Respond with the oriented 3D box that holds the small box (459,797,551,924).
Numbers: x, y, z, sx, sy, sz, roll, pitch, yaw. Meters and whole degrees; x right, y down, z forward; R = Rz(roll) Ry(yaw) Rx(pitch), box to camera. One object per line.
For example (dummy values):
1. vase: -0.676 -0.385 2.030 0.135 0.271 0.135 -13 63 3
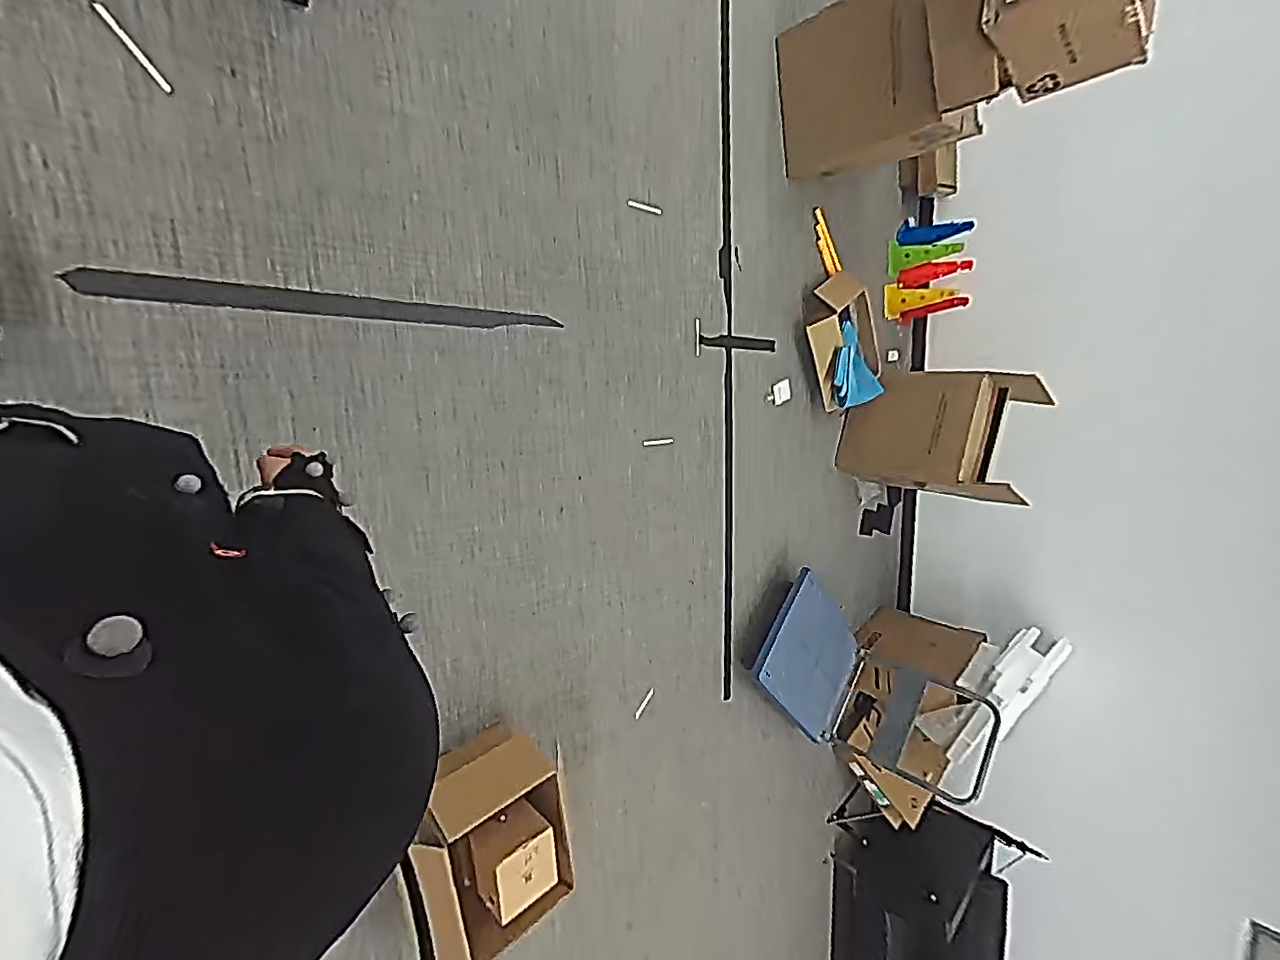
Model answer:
1. small box: -0.352 0.977 1.407 0.168 0.176 0.179 -13 104 -43
